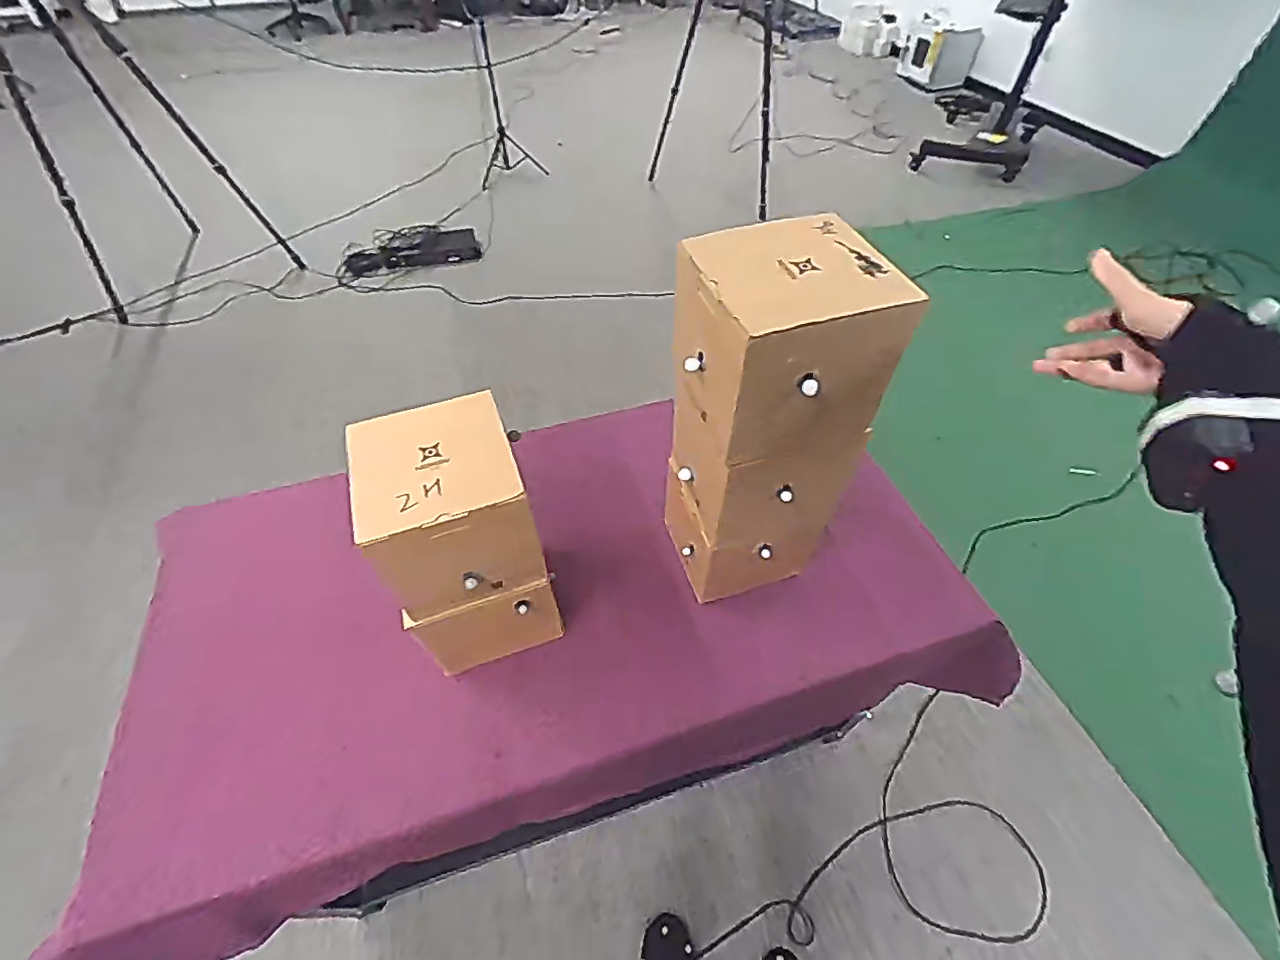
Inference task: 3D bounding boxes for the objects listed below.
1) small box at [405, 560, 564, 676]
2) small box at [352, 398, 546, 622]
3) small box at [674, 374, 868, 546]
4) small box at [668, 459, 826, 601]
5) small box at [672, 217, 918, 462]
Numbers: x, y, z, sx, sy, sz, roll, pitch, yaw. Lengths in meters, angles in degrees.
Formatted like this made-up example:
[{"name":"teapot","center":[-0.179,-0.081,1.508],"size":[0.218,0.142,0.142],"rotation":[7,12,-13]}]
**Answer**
[{"name":"small box","center":[-0.220,0.150,0.762],"size":[0.179,0.176,0.168],"rotation":[-17,53,-14]},{"name":"small box","center":[-0.221,0.036,0.641],"size":[0.168,0.176,0.179],"rotation":[-18,52,-13]},{"name":"small box","center":[0.151,-0.041,0.696],"size":[0.179,0.176,0.168],"rotation":[-15,53,-9]},{"name":"small box","center":[0.149,0.062,0.824],"size":[0.179,0.176,0.168],"rotation":[-14,53,-11]},{"name":"small box","center":[0.142,-0.141,0.566],"size":[0.179,0.176,0.168],"rotation":[-16,54,-10]}]
